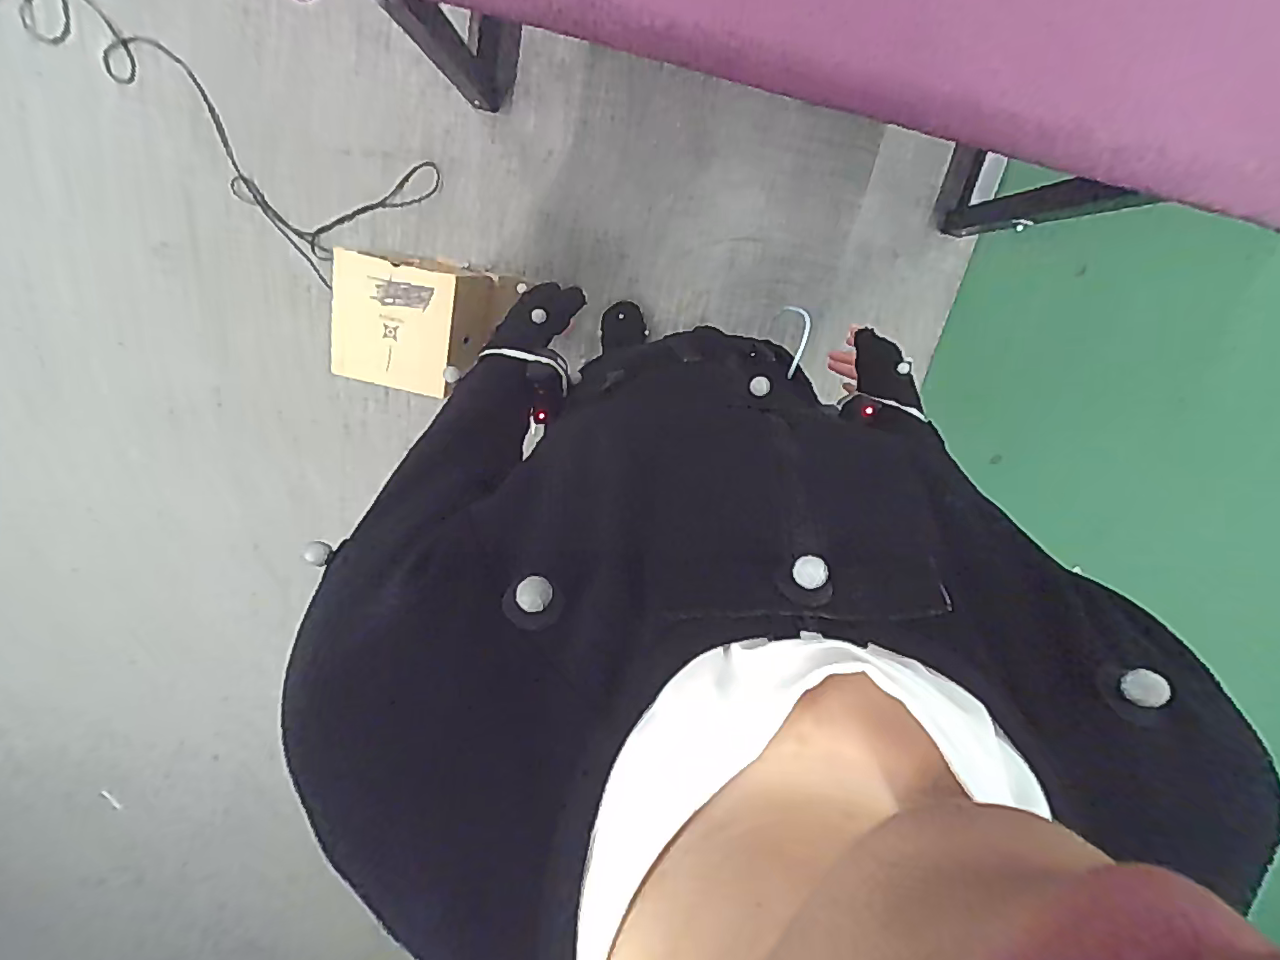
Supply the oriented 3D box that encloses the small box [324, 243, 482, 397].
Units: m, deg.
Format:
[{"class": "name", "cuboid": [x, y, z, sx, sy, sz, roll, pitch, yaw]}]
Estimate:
[{"class": "small box", "cuboid": [-0.351, -0.247, 0.824, 0.168, 0.176, 0.179, 14, 112, -5]}]
